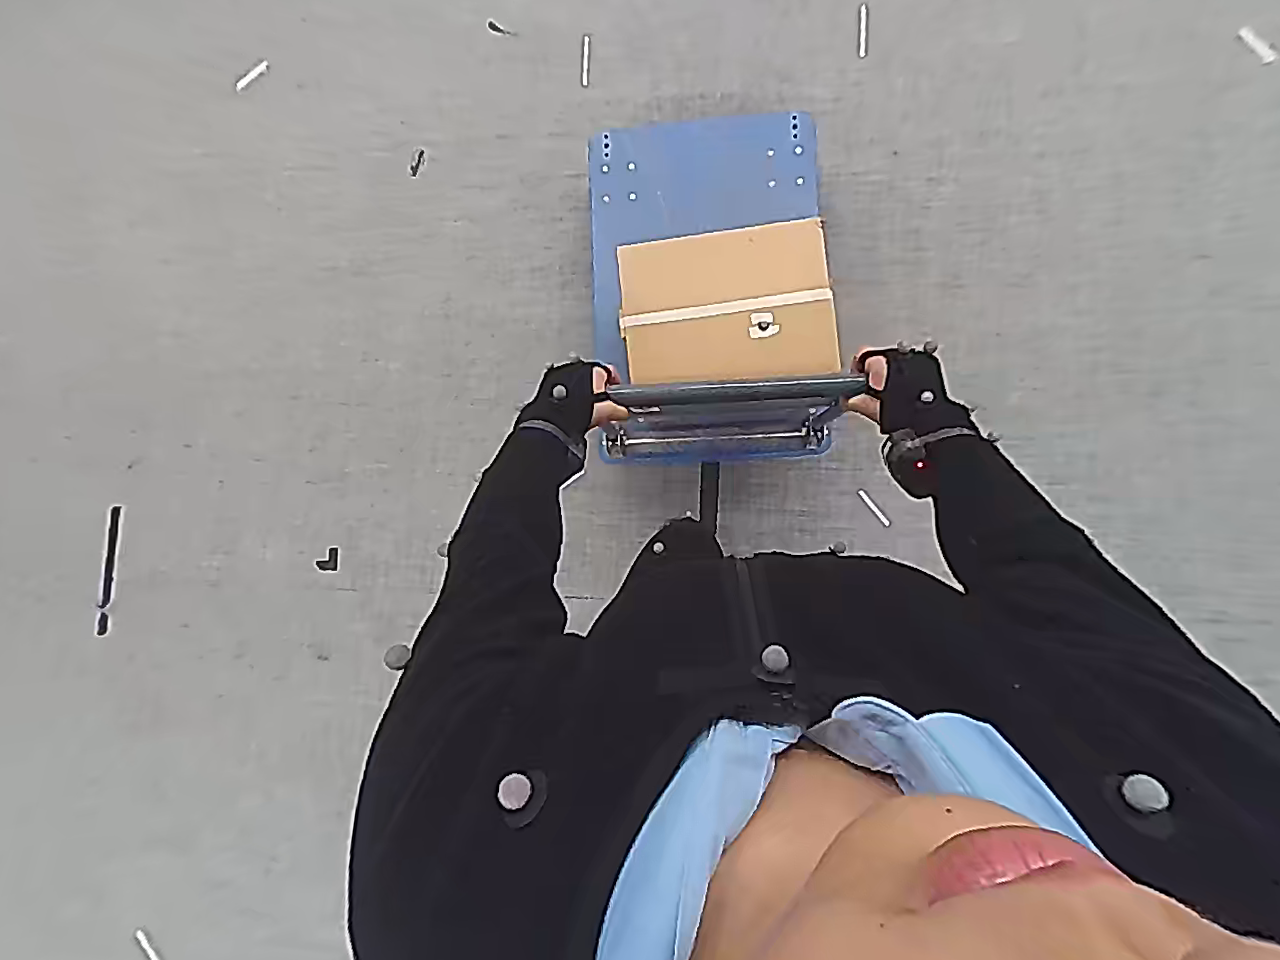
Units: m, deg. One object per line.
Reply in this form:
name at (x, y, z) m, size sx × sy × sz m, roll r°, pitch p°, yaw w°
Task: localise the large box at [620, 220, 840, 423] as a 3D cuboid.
large box at (0.182, -0.326, 1.212) m, size 0.408 × 0.320 × 0.320 m, roll -7°, pitch 87°, yaw 4°
